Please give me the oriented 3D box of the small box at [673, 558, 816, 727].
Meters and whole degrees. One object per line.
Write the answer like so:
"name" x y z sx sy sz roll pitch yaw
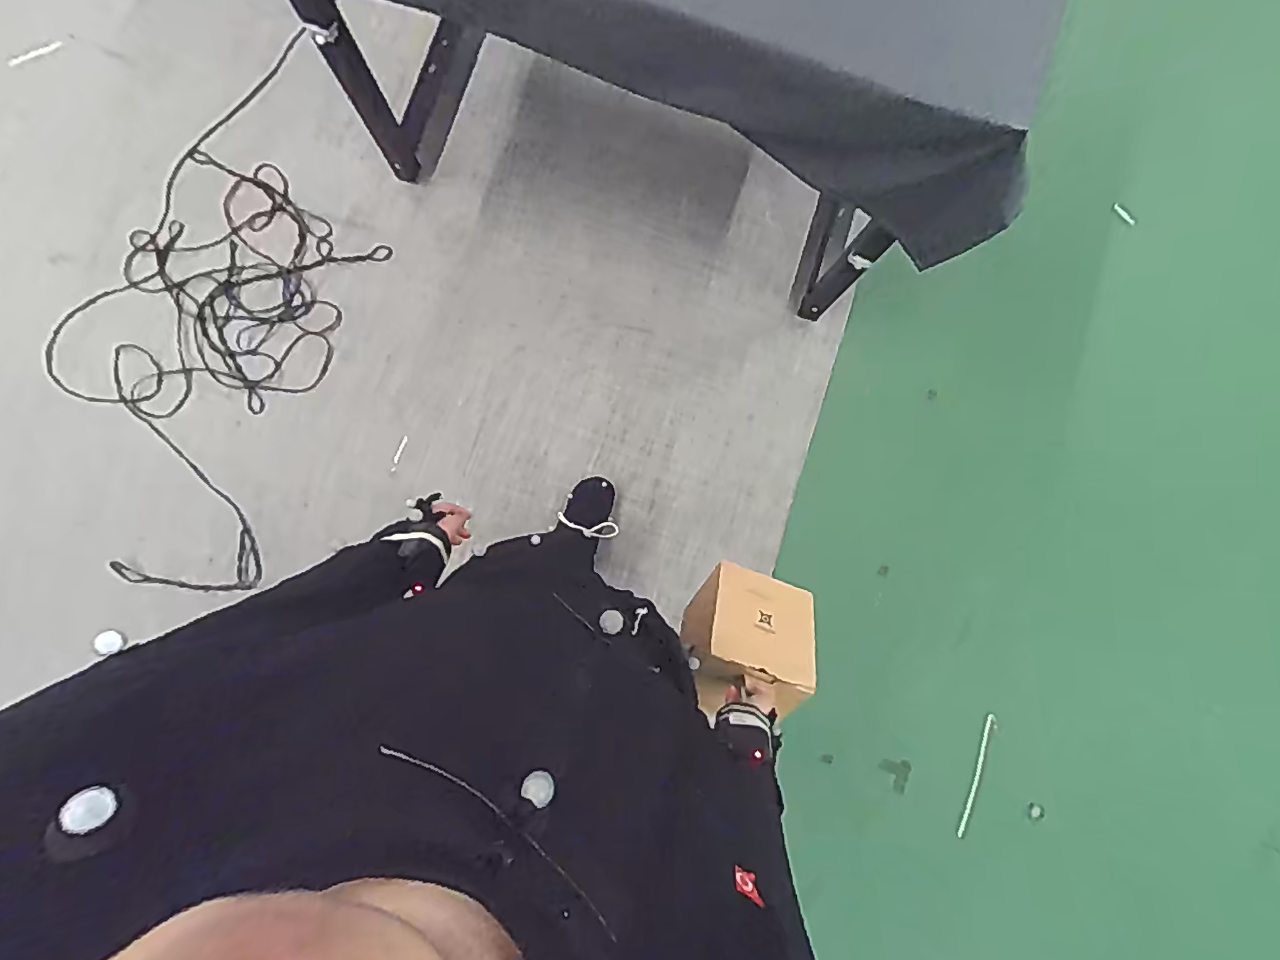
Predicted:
"small box" 0.162 0.264 0.863 0.168 0.176 0.179 22 42 -4
